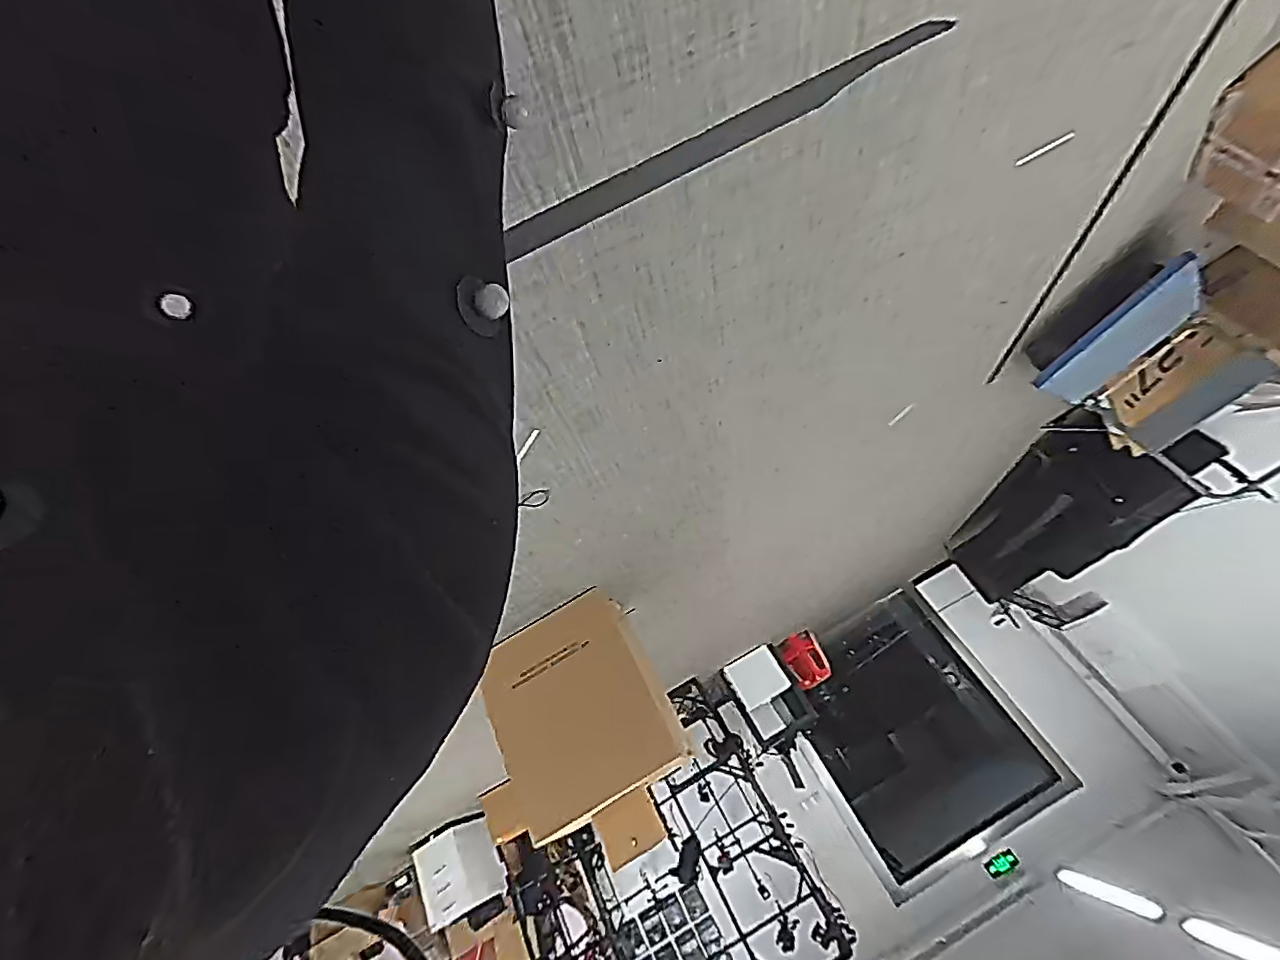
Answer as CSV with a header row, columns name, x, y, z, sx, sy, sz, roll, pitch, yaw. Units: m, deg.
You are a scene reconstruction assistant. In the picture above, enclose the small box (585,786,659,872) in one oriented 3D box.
name,x,y,z,sx,sy,sz,roll,pitch,yaw
small box,-0.062,1.113,1.738,0.179,0.176,0.168,-29,151,-7
